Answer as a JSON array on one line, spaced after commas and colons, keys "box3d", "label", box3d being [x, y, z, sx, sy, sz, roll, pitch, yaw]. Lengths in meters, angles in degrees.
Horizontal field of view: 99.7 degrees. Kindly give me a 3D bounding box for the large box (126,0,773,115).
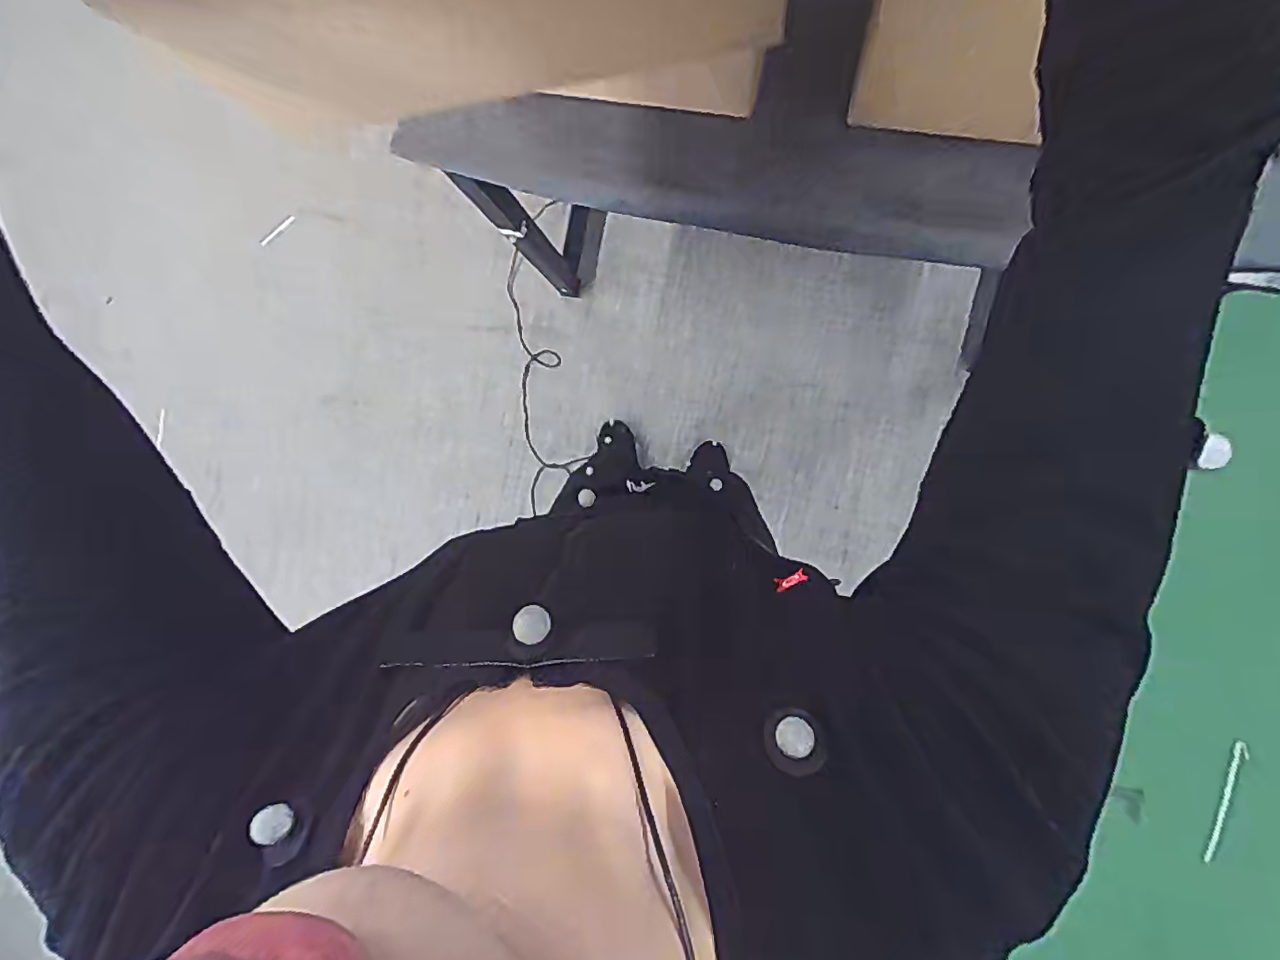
[{"box3d": [-0.135, -0.449, 0.260, 0.408, 0.320, 0.320, -3, 96, 9], "label": "large box"}]
